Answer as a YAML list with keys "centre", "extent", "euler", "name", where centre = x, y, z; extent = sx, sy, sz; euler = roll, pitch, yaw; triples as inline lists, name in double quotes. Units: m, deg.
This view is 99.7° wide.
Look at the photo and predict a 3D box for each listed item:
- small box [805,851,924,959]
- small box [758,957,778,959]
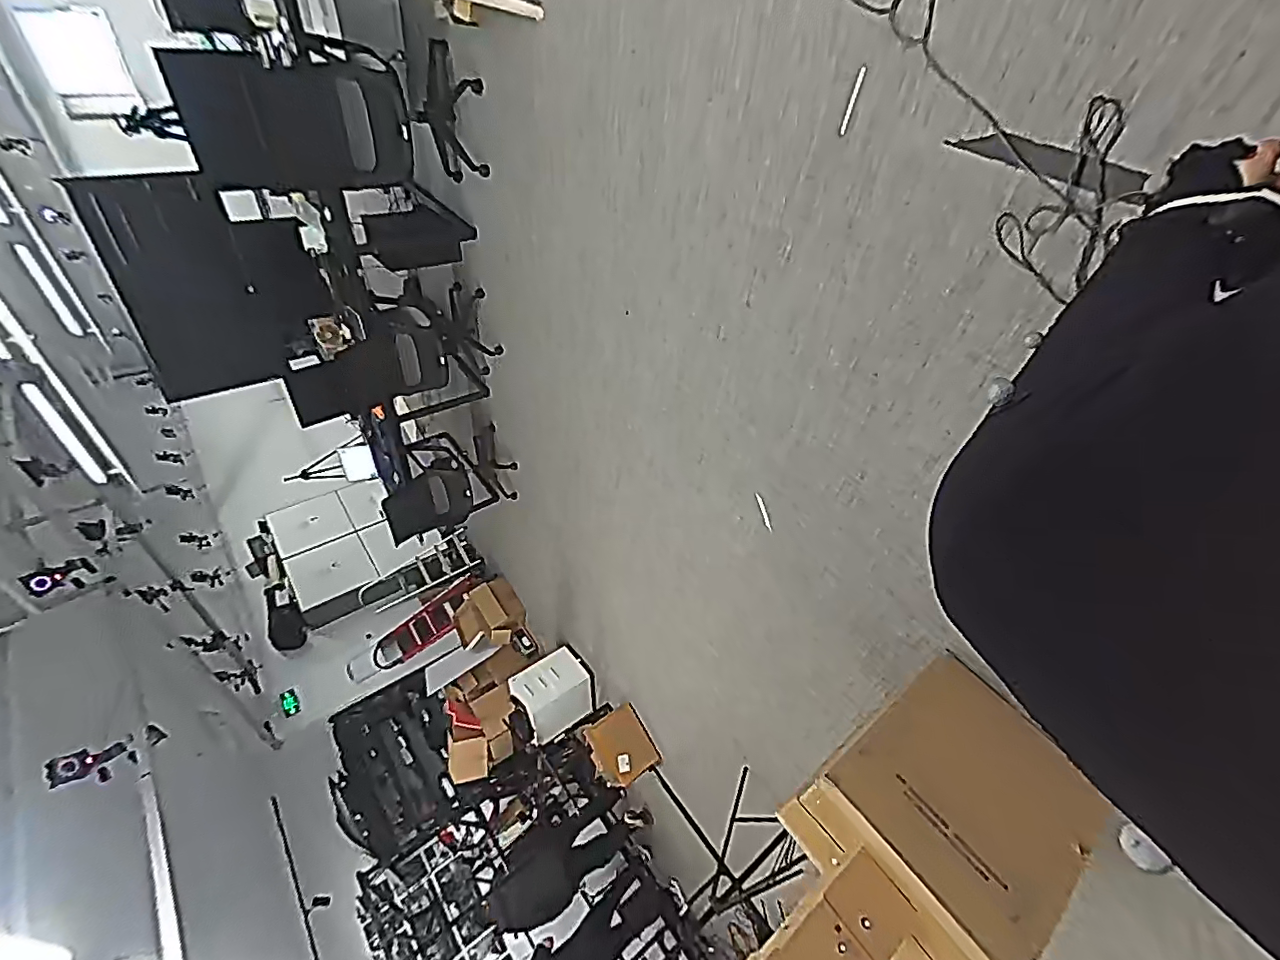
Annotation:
- centre: [0.545, 1.054, 1.314]
  extent: [0.179, 0.176, 0.168]
  euler: [47, 145, 30]
  name: "small box"
- centre: [0.280, 1.167, 1.153]
  extent: [0.179, 0.176, 0.168]
  euler: [46, 144, 30]
  name: "small box"
